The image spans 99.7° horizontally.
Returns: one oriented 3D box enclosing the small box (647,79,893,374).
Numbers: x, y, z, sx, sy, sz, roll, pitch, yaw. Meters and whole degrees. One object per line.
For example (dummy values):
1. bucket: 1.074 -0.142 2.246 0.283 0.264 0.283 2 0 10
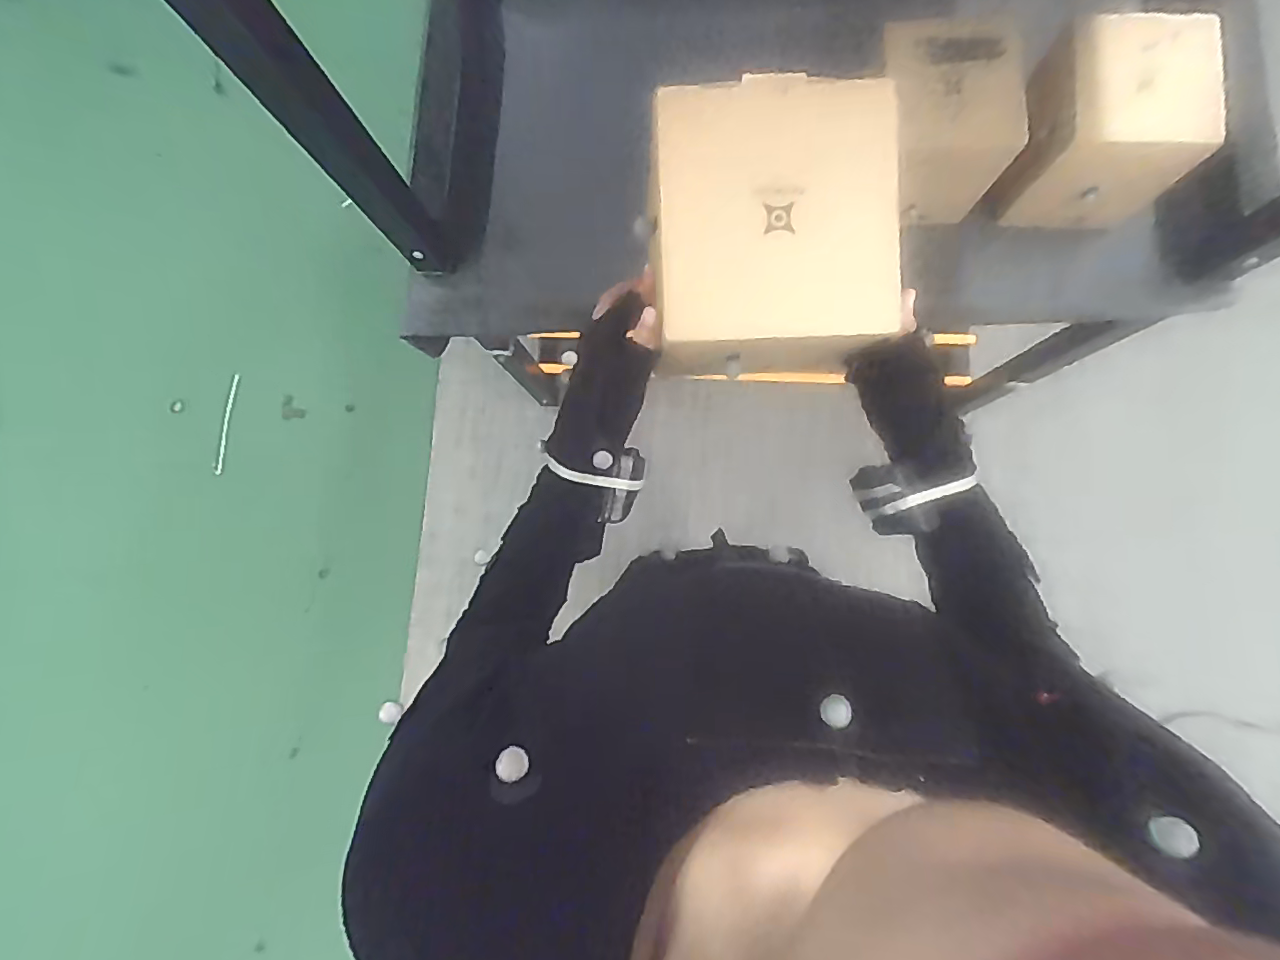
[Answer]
1. small box: 0.091 -0.186 0.450 0.168 0.176 0.179 -2 92 0
